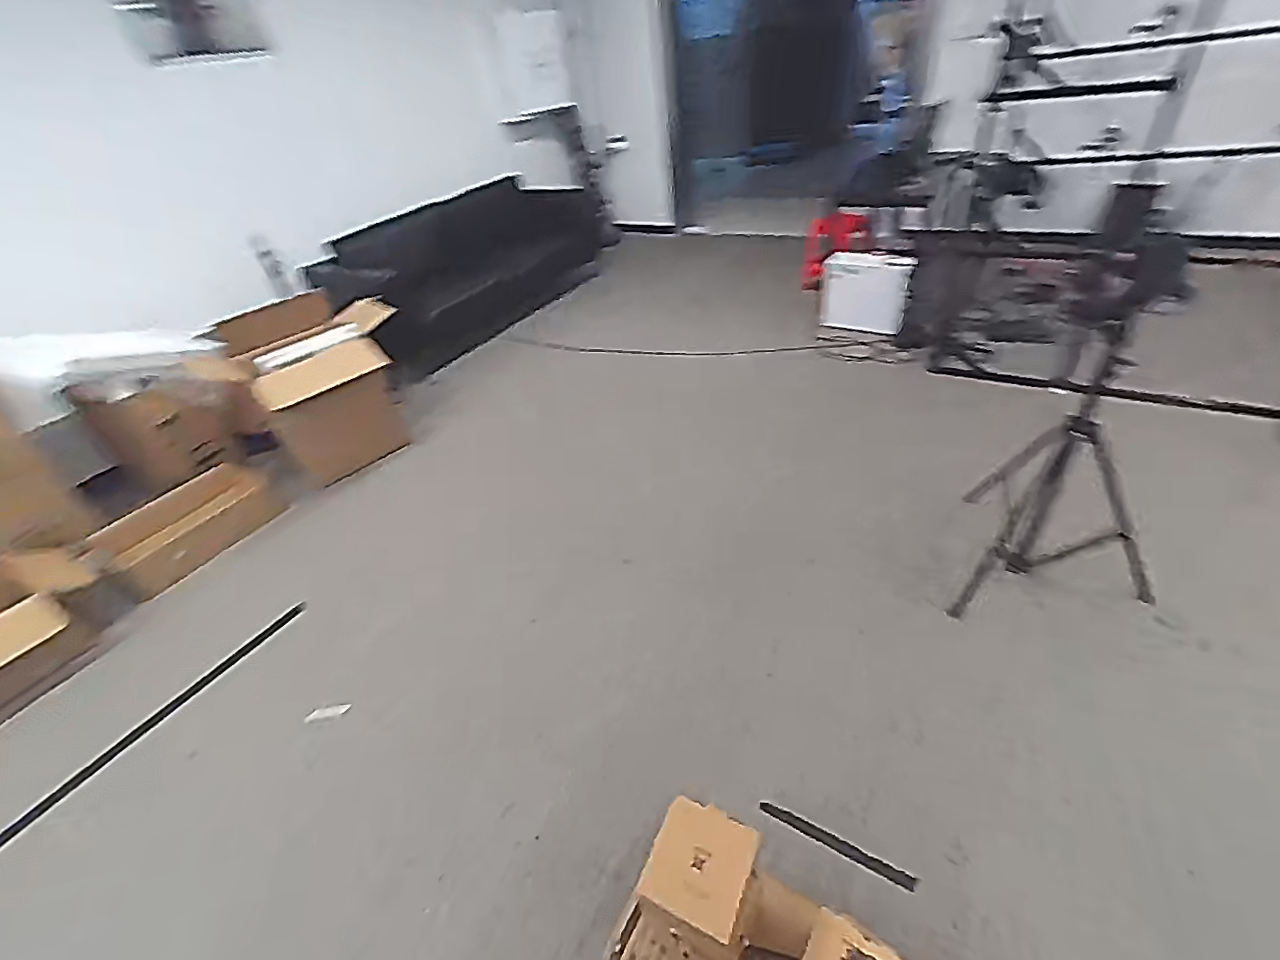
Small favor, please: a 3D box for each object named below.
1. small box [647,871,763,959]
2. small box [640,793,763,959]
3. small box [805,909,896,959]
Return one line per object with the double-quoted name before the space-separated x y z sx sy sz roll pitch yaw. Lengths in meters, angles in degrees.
"small box" 0.136 0.848 1.075 0.168 0.176 0.179 18 45 30
"small box" 0.115 0.720 0.977 0.168 0.176 0.179 13 42 25
"small box" 0.362 0.918 0.946 0.168 0.176 0.179 19 45 32
